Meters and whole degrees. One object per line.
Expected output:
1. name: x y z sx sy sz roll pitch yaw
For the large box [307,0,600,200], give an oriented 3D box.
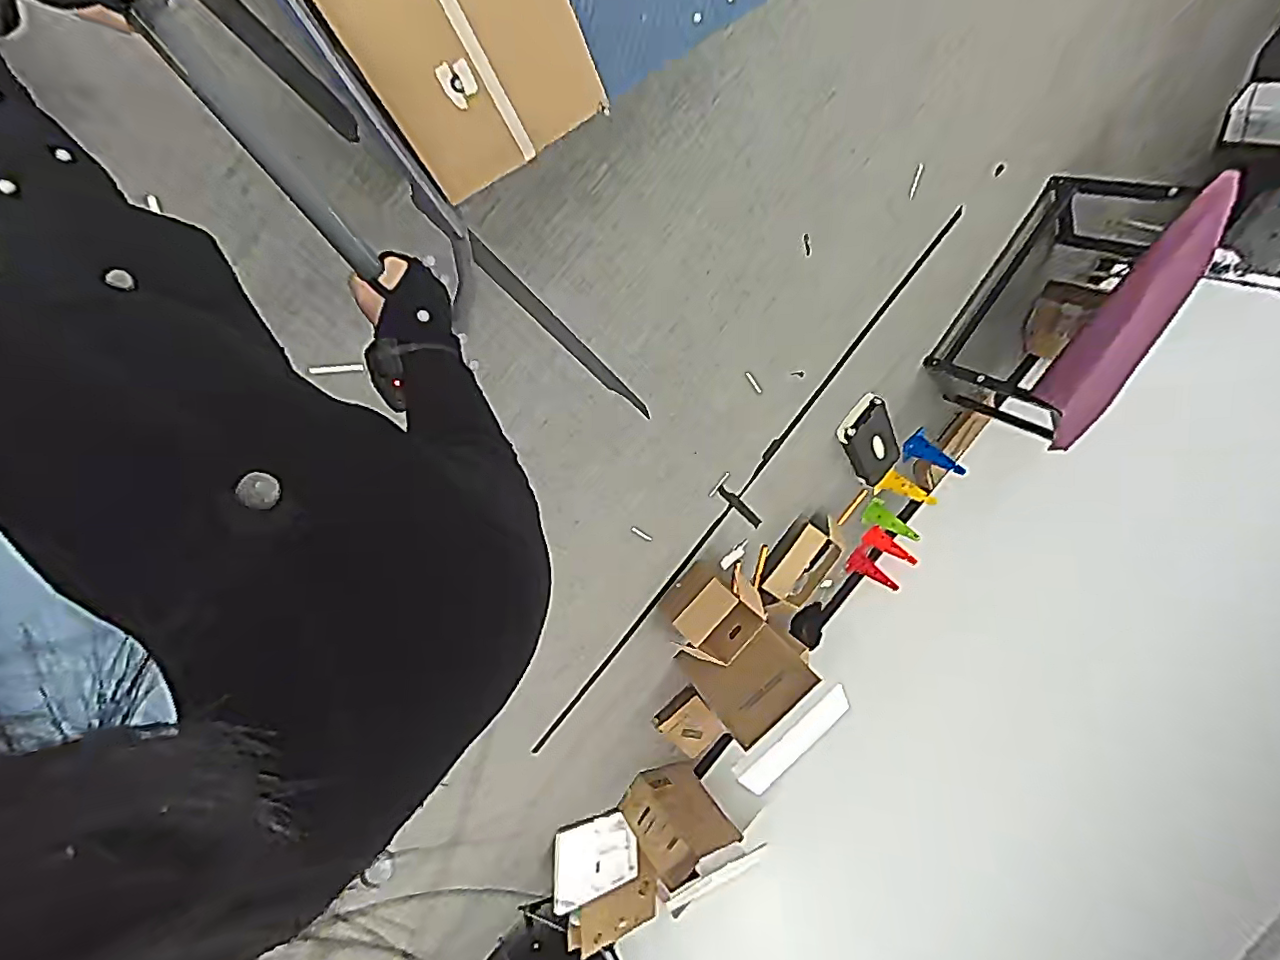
1. large box: -0.325 -0.756 0.862 0.320 0.320 0.408 -31 139 2
